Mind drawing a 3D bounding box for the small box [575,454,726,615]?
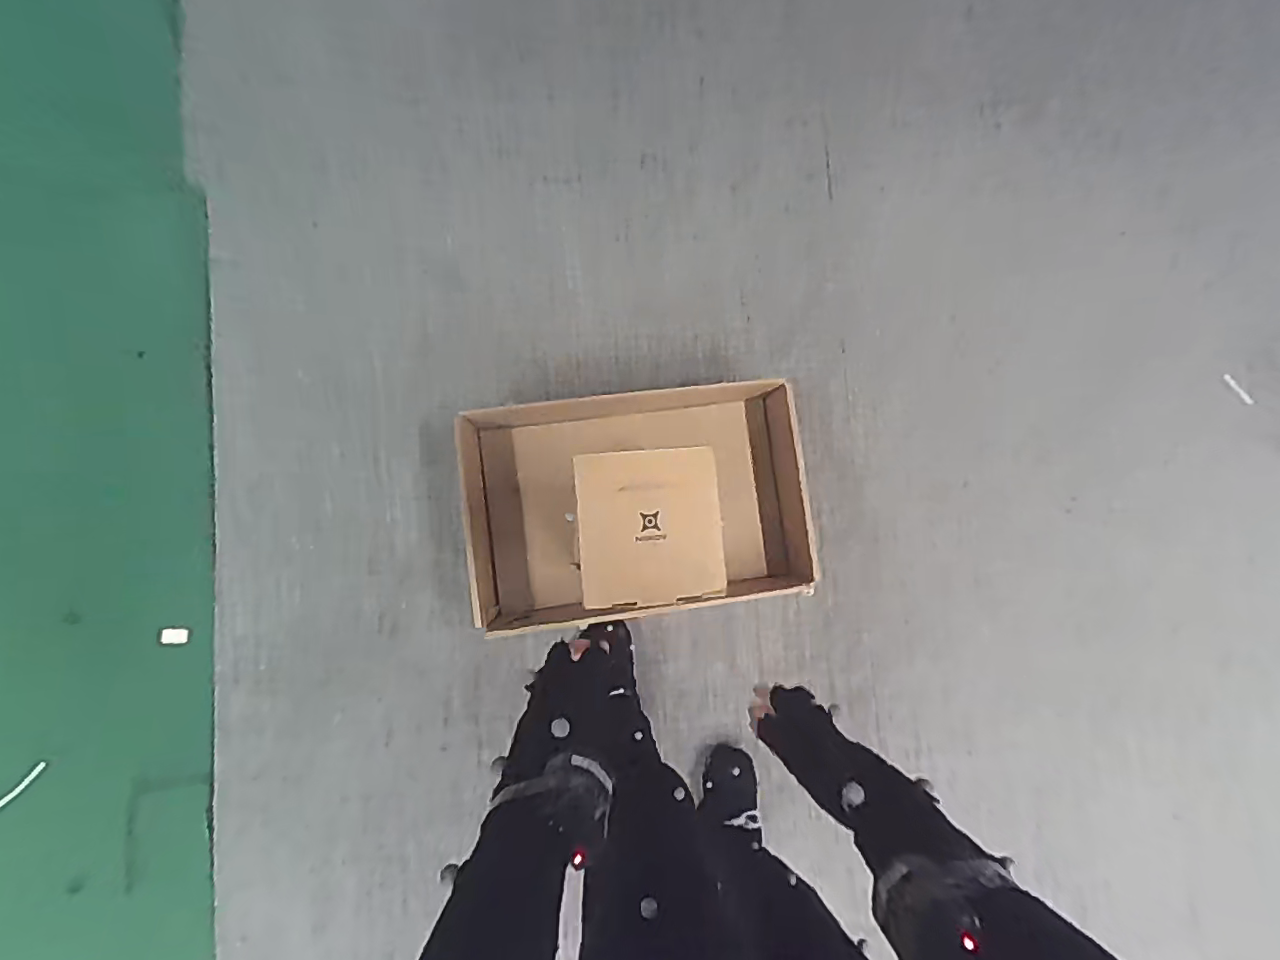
[{"bbox_3d":[0.005,0.068,0.694,0.168,0.176,0.179,-4,84,-6],"label":"small box"}]
